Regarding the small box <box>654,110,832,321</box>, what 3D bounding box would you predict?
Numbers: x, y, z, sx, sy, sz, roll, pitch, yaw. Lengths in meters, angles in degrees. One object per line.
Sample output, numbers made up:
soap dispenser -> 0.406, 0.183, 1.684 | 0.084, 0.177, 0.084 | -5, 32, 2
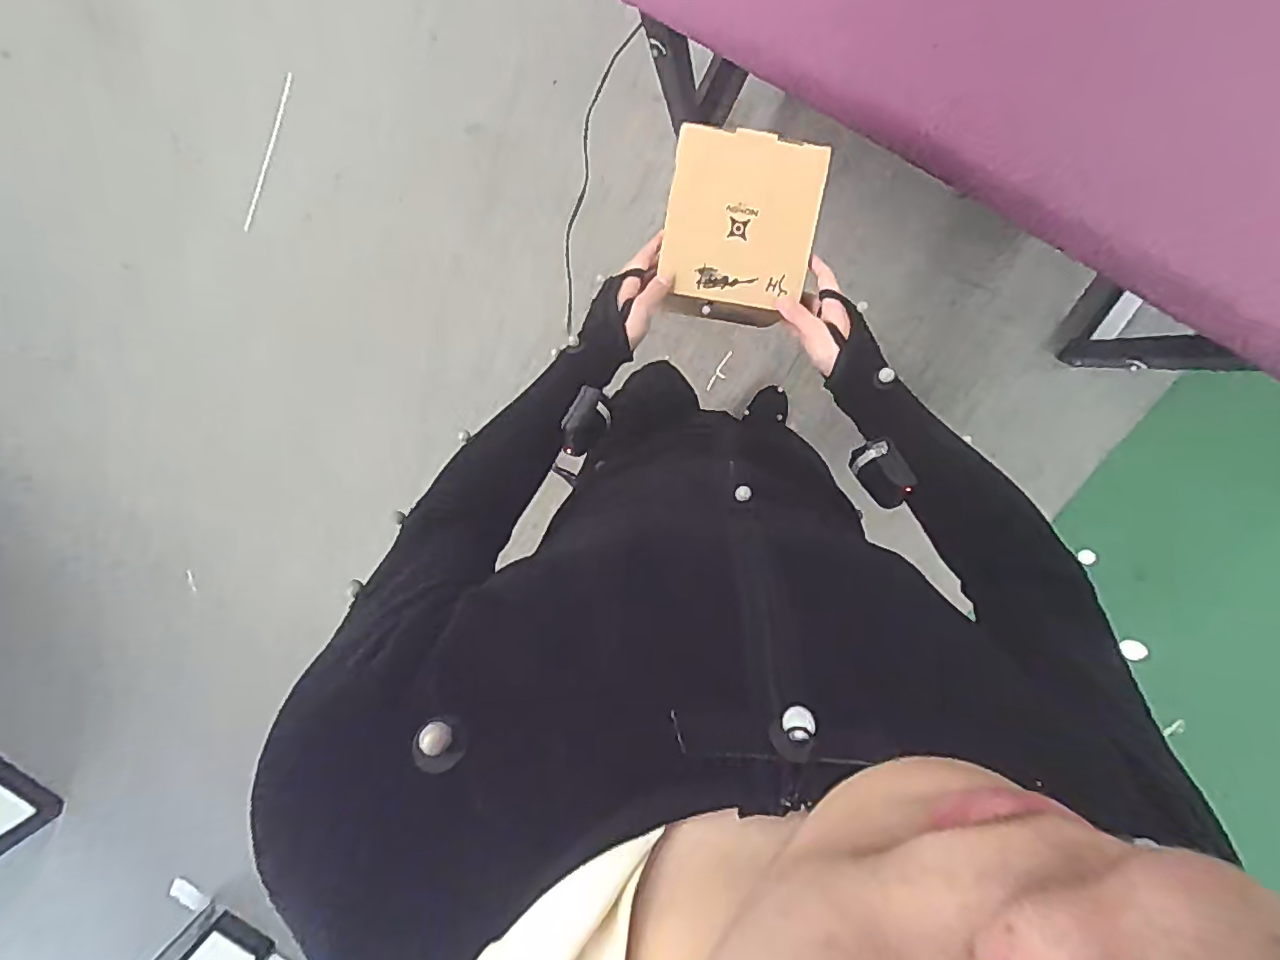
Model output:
small box -> 0.110, -0.304, 0.659 | 0.168, 0.176, 0.179 | 10, 101, 0

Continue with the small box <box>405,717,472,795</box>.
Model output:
small box -> -0.643, 0.870, 1.654 | 0.168, 0.176, 0.179 | 37, 107, -1
